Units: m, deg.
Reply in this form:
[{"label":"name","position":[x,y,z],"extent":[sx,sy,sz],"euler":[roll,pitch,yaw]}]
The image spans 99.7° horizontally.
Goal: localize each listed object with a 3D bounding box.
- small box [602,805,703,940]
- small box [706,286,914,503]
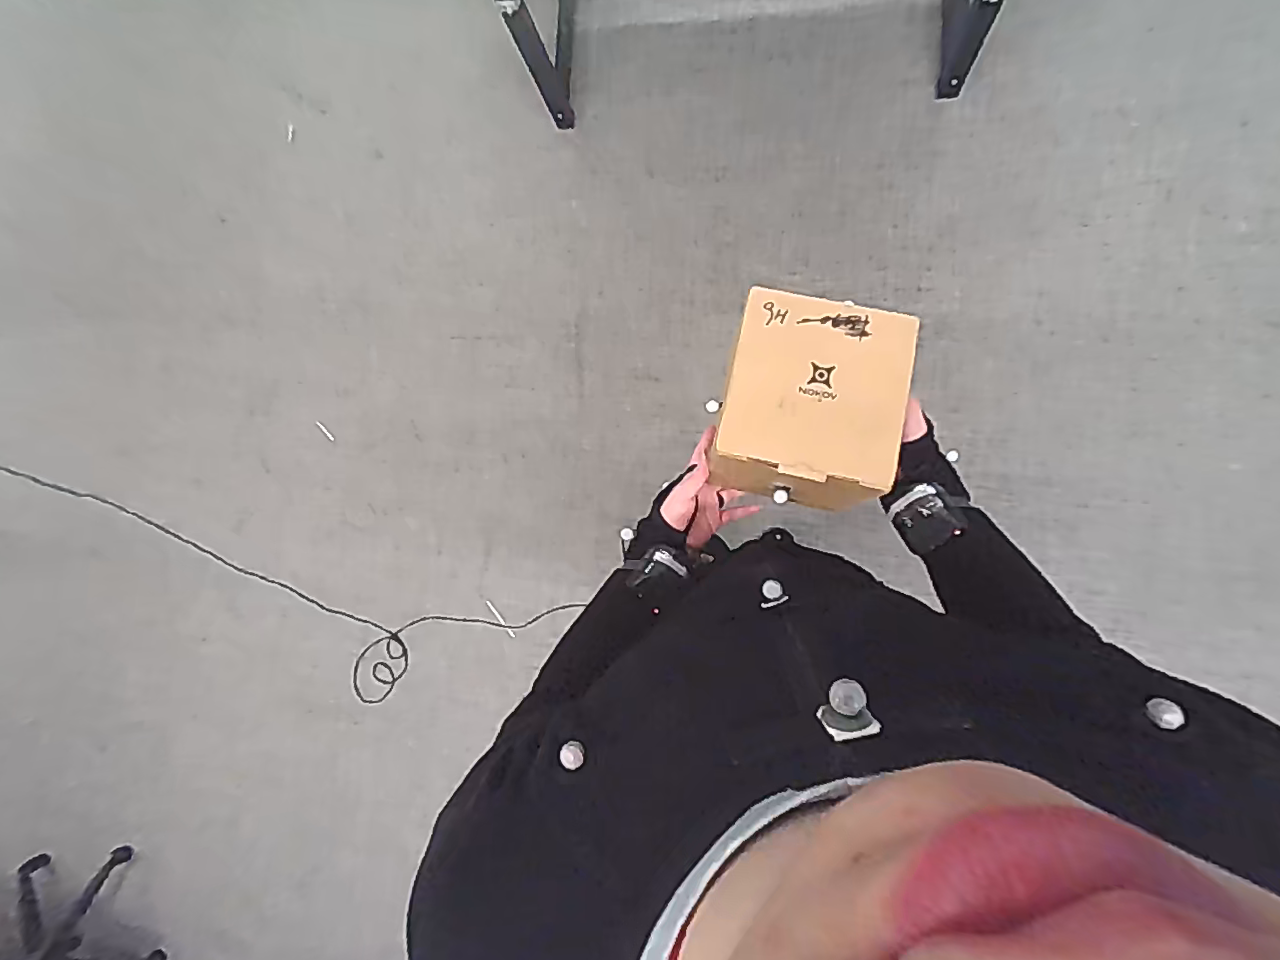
[{"label":"small box","position":[0.038,0.935,1.304],"extent":[0.179,0.176,0.168],"euler":[-35,81,5]},{"label":"small box","position":[0.171,-0.080,0.596],"extent":[0.168,0.176,0.179],"euler":[13,81,5]}]
